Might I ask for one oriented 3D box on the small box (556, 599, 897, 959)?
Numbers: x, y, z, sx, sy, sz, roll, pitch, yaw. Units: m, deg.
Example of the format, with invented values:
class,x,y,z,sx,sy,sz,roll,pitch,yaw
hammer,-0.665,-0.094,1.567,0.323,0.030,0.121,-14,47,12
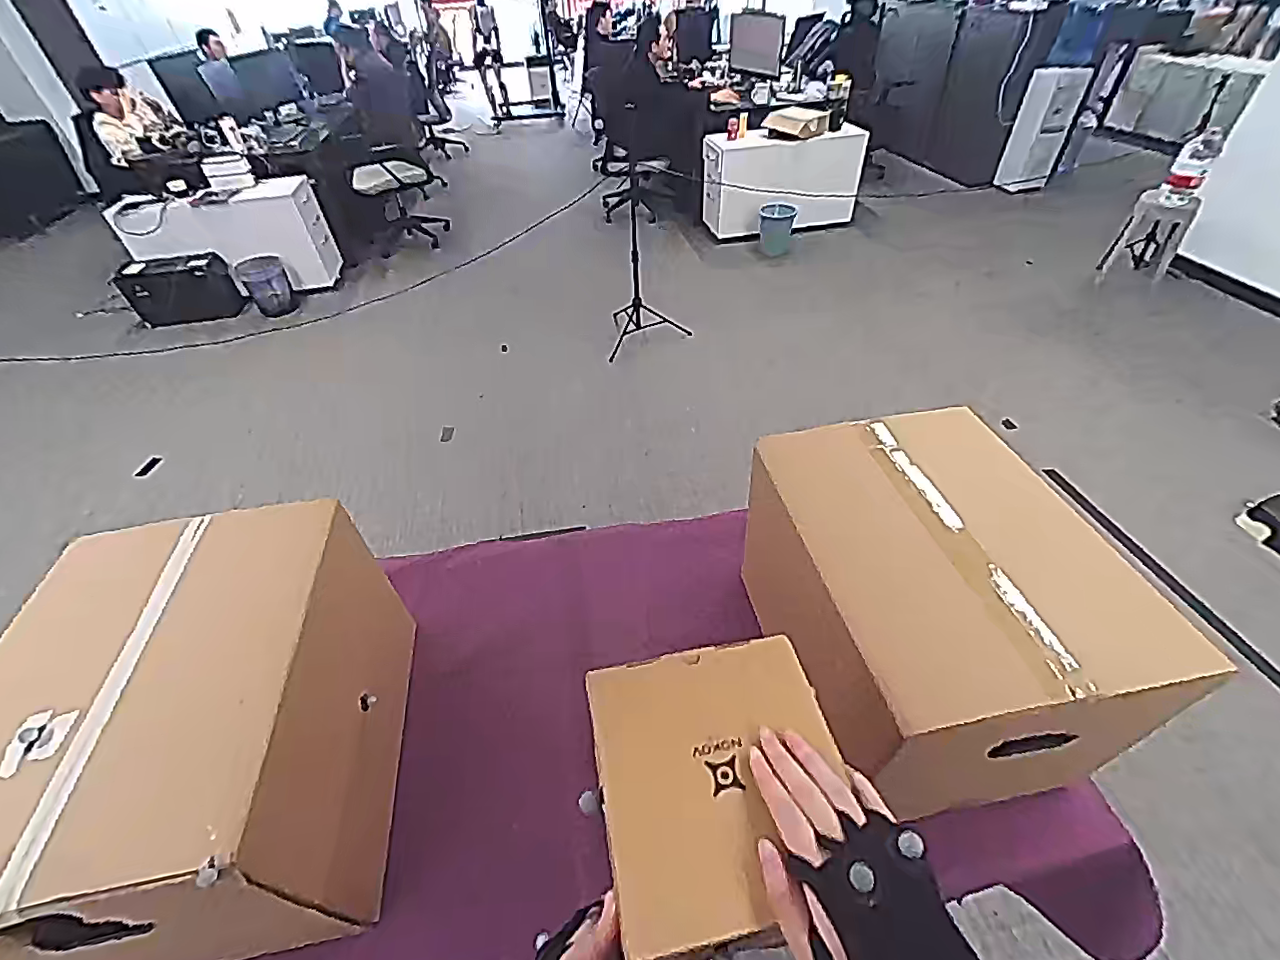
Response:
class,x,y,z,sx,sy,sz,roll,pitch,yaw
small box,0.056,0.218,0.407,0.179,0.176,0.168,-25,27,0
